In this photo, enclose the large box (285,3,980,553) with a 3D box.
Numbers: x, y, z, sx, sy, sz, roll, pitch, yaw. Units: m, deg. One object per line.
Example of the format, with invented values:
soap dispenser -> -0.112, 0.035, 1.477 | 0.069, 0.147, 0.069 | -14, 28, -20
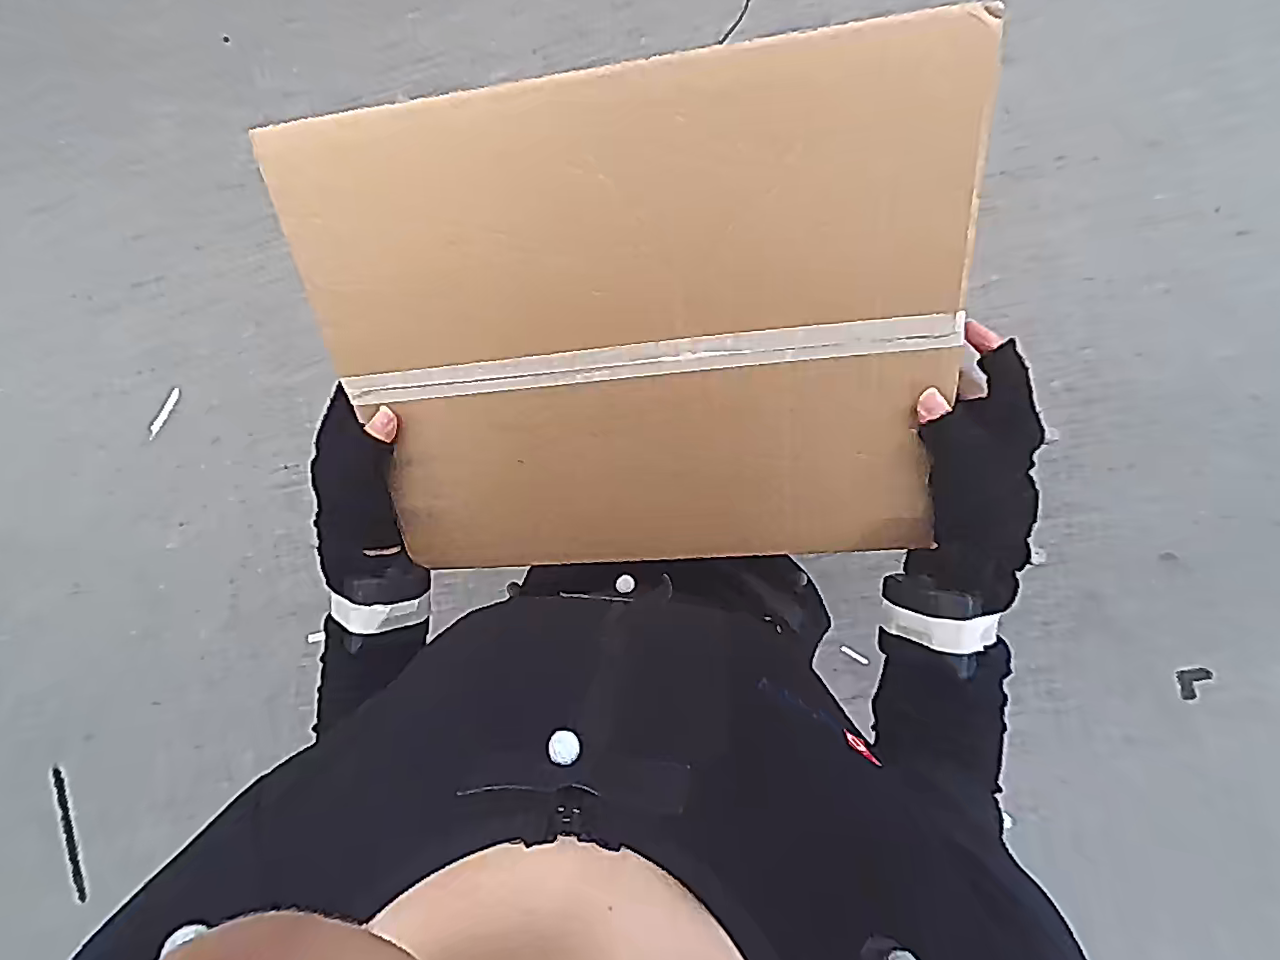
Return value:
large box -> 0.009, -0.154, 0.496 | 0.408, 0.320, 0.320 | -4, 117, 8
